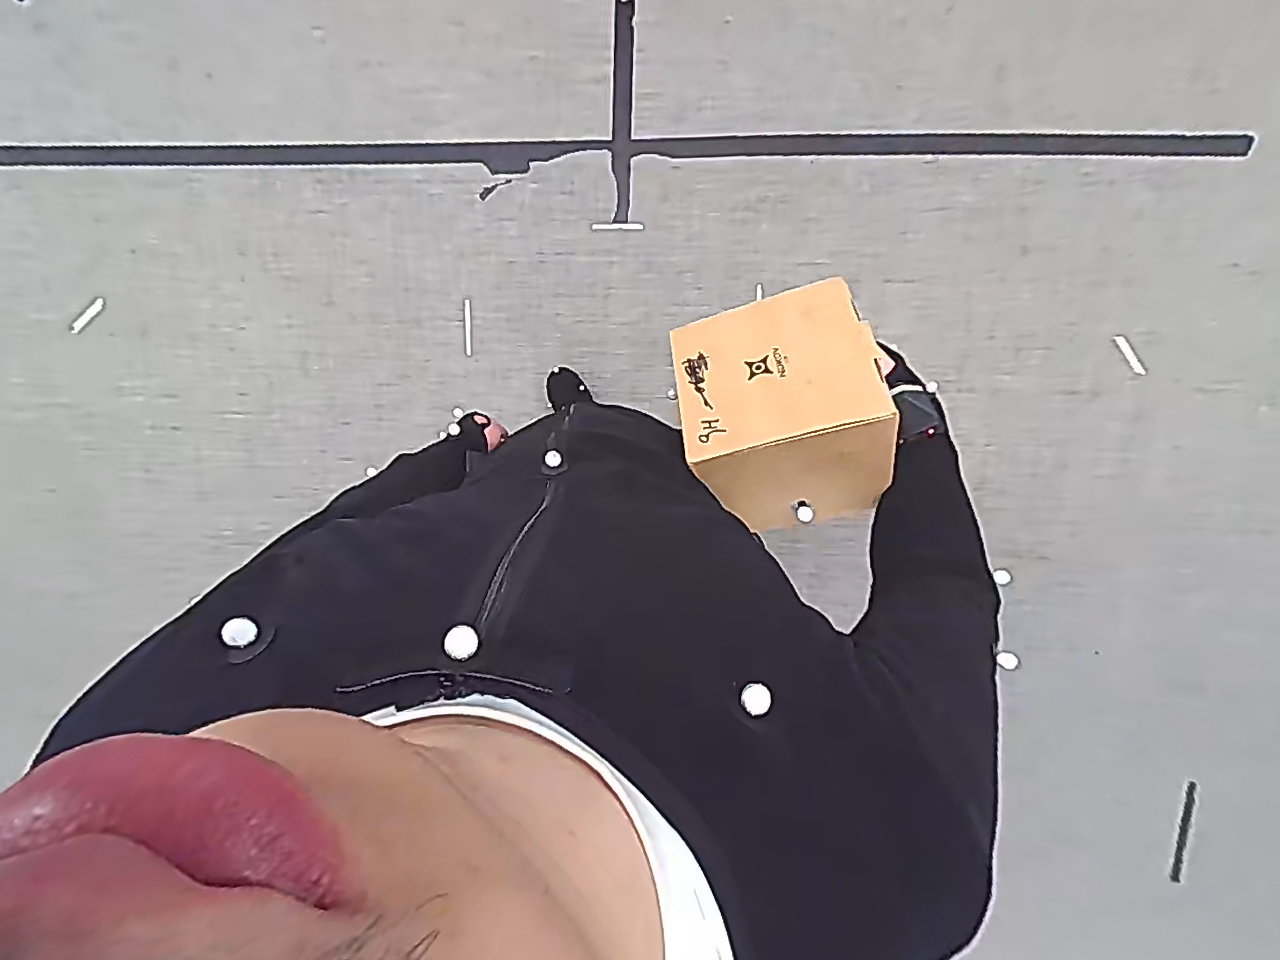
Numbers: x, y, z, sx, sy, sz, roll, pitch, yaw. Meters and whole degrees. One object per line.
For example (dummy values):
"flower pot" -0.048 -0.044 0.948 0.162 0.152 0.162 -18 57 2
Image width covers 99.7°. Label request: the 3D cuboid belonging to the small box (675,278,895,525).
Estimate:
"small box" 0.148 -0.070 0.568 0.179 0.176 0.168 -14 57 15
